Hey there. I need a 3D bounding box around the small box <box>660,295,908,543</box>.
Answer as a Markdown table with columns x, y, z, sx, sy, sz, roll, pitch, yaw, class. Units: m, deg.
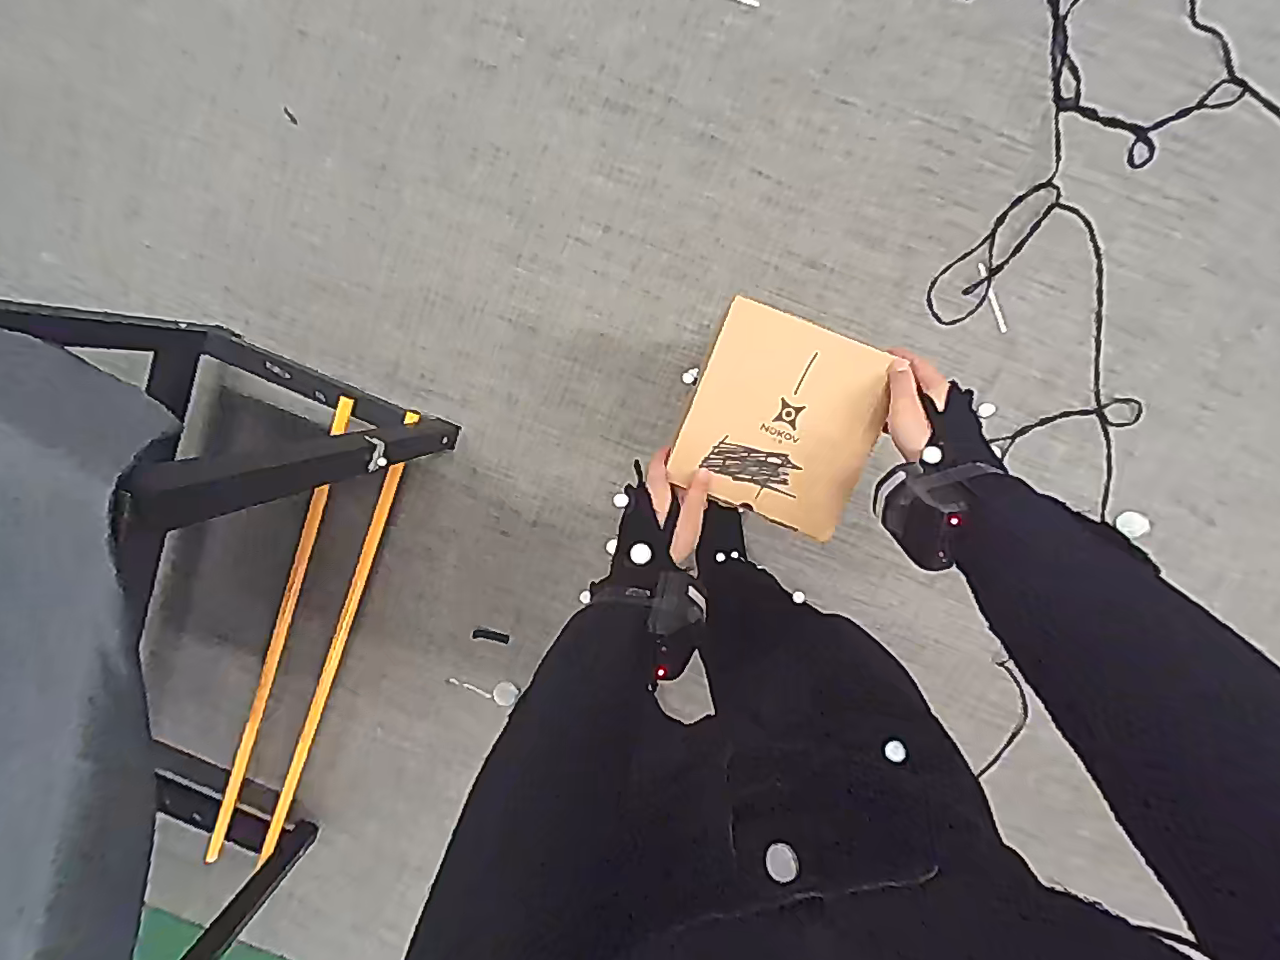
| x | y | z | sx | sy | sz | roll | pitch | yaw | class |
| --- | --- | --- | --- | --- | --- | --- | --- | --- | --- |
| 0.130 | -0.062 | 0.555 | 0.168 | 0.176 | 0.179 | 22 | 99 | 0 | small box |
